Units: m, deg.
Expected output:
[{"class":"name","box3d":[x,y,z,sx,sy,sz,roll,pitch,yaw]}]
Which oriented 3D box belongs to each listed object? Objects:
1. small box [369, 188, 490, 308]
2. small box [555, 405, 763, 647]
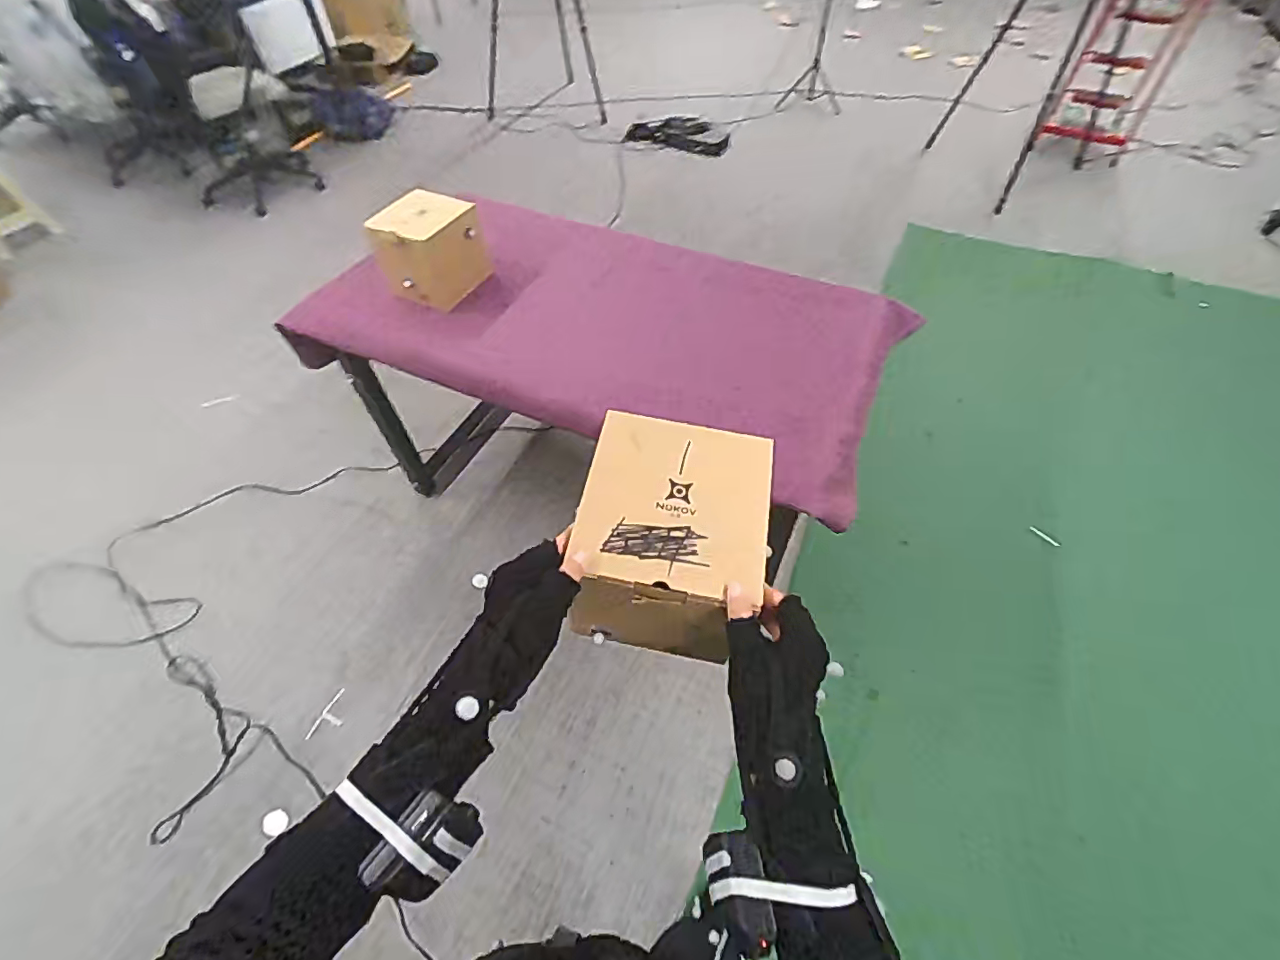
[{"class":"small box","box3d":[-0.459,-0.522,1.218,0.168,0.176,0.179,21,57,16]},{"class":"small box","box3d":[0.022,0.054,0.550,0.168,0.176,0.179,10,56,3]}]
